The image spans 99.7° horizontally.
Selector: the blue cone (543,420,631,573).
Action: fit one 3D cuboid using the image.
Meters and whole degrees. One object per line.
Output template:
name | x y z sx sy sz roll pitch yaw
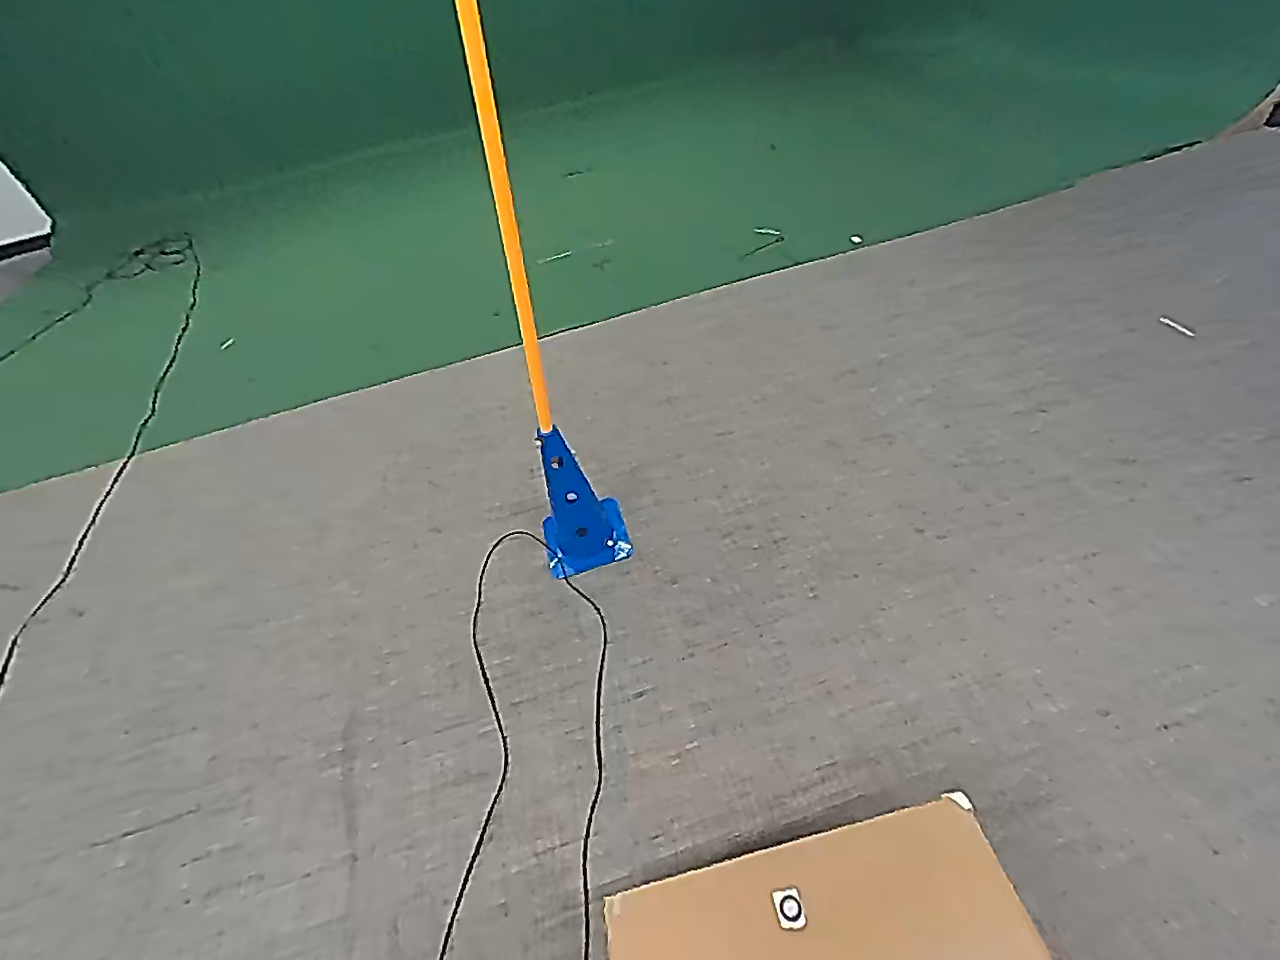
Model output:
blue cone | -0.153 0.015 1.197 0.193 0.380 0.192 -18 47 -7
